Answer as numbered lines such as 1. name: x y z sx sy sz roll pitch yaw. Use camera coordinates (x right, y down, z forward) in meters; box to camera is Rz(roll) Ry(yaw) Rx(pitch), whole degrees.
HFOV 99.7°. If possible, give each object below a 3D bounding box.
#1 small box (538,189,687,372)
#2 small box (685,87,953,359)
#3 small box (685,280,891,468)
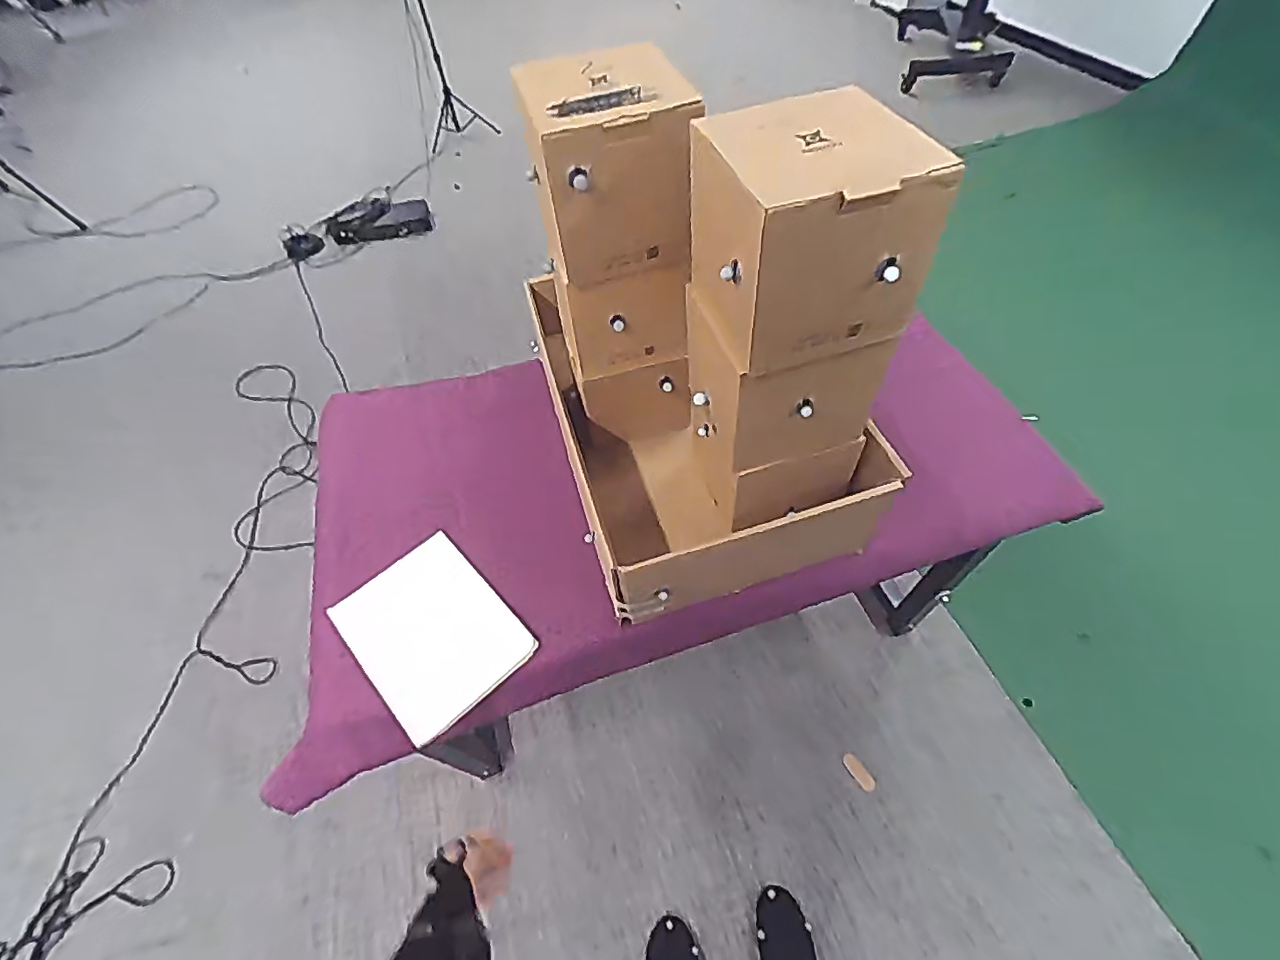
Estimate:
1. small box: -0.035 -0.274 0.768 0.168 0.176 0.179 -15 56 -6
2. small box: 0.149 -0.236 0.519 0.168 0.176 0.179 -15 53 -5
3. small box: 0.160 -0.141 0.650 0.179 0.176 0.168 -16 53 -5
